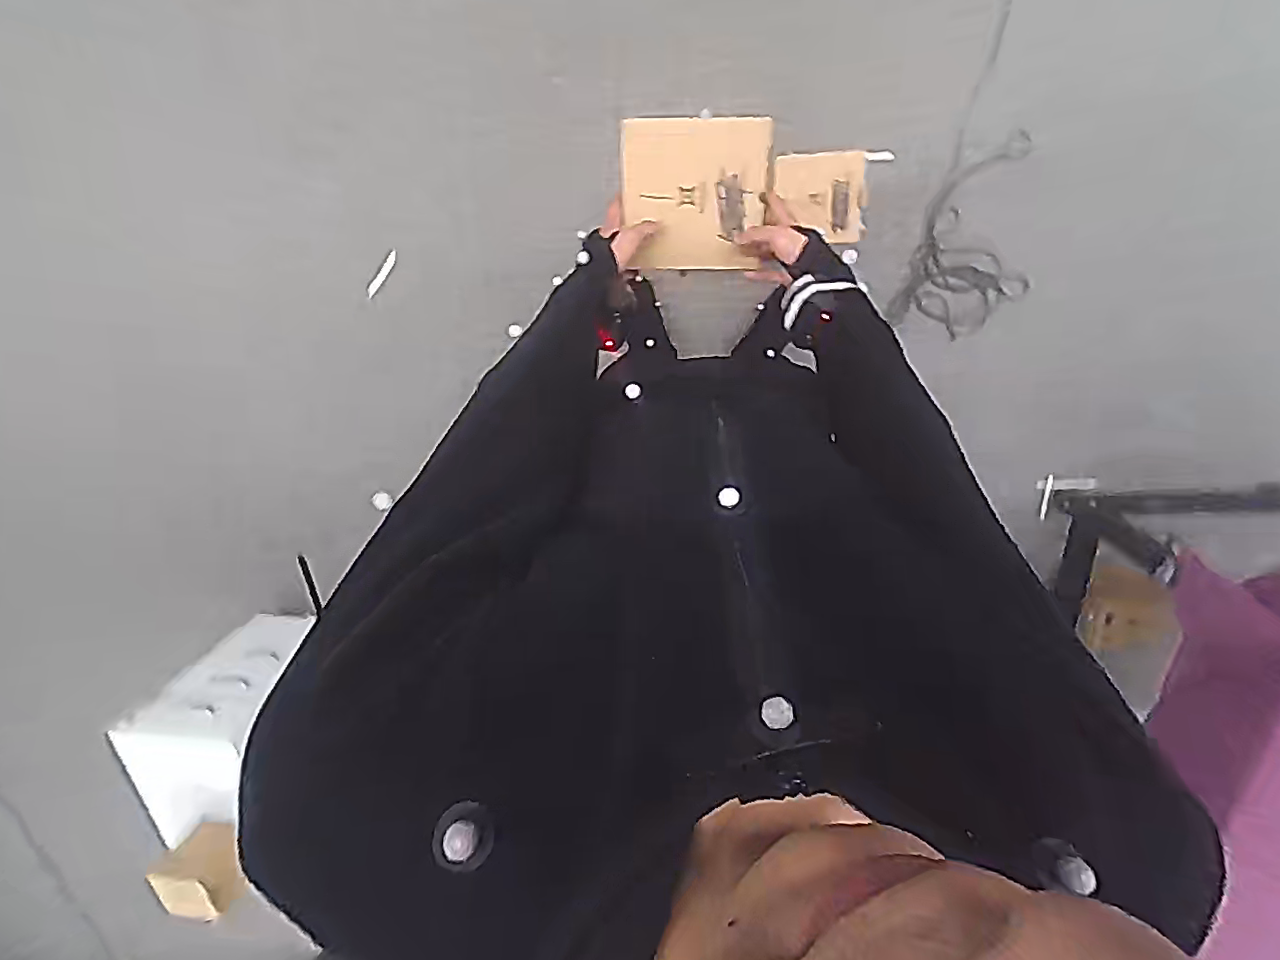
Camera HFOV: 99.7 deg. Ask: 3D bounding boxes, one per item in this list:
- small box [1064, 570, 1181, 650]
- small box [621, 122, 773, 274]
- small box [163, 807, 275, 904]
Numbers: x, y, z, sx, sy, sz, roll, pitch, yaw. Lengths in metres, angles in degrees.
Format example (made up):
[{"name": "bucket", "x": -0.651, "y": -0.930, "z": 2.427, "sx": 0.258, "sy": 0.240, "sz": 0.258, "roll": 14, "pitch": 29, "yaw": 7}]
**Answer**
[{"name": "small box", "x": 1.392, "y": 0.374, "z": 1.573, "sx": 0.179, "sy": 0.176, "sz": 0.168, "roll": -3, "pitch": 111, "yaw": 8}, {"name": "small box", "x": 0.068, "y": -0.372, "z": 0.721, "sx": 0.179, "sy": 0.176, "sz": 0.168, "roll": 1, "pitch": 117, "yaw": 3}, {"name": "small box", "x": -1.241, "y": 1.108, "z": 1.605, "sx": 0.179, "sy": 0.176, "sz": 0.168, "roll": 0, "pitch": 112, "yaw": 9}]
